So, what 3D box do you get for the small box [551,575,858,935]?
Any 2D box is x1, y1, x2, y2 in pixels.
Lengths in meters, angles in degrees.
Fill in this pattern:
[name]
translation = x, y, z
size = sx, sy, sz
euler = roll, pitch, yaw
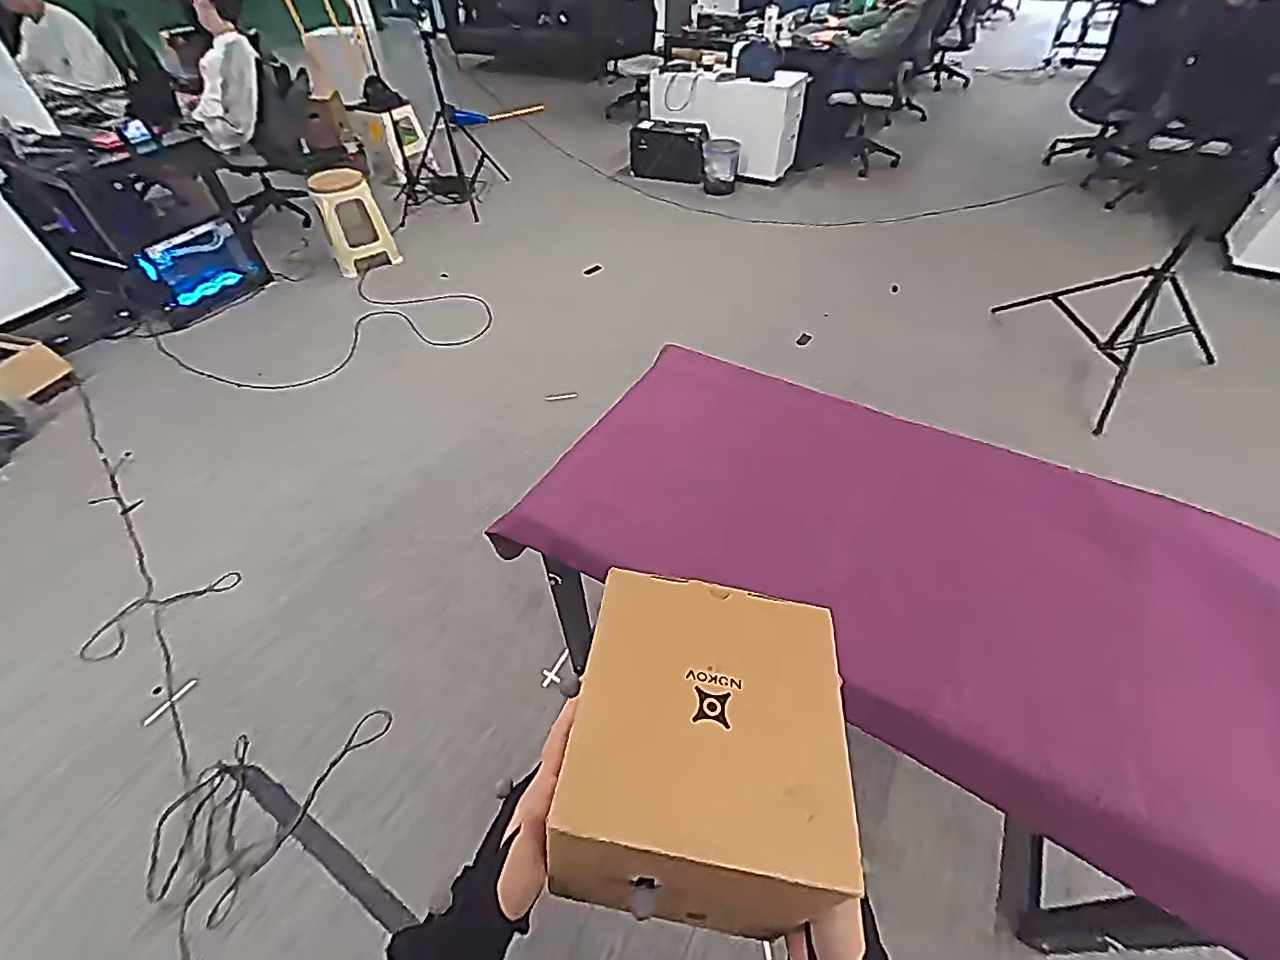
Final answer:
[small box]
translation = 0.038, 0.200, 0.396
size = 0.168, 0.176, 0.179
euler = 10, 41, 2
